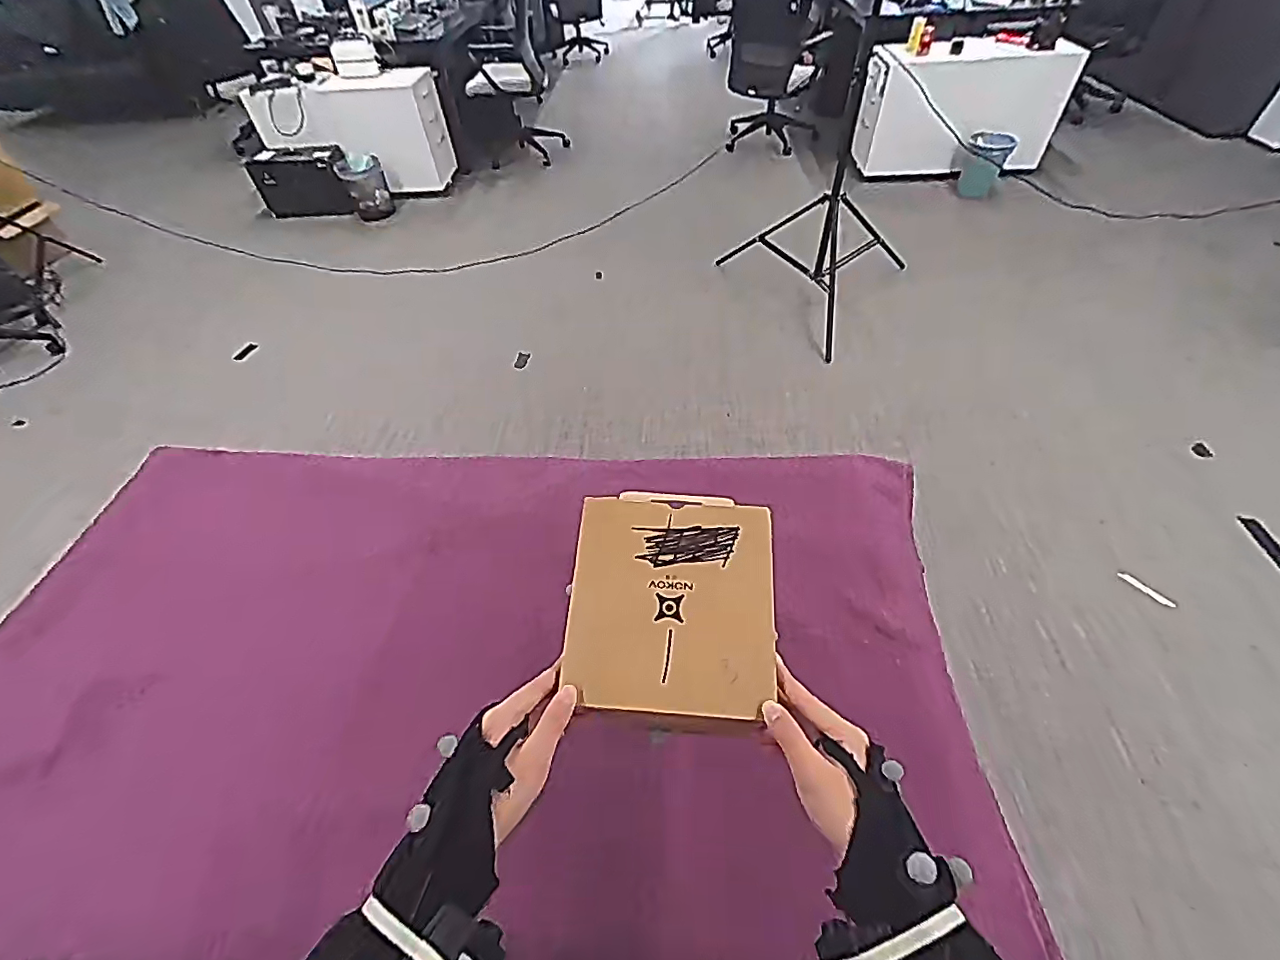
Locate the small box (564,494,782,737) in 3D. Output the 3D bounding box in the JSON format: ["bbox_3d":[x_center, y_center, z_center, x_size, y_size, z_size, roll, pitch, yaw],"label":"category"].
[{"bbox_3d":[0.033,0.132,0.509,0.168,0.176,0.179,3,61,4],"label":"small box"}]
